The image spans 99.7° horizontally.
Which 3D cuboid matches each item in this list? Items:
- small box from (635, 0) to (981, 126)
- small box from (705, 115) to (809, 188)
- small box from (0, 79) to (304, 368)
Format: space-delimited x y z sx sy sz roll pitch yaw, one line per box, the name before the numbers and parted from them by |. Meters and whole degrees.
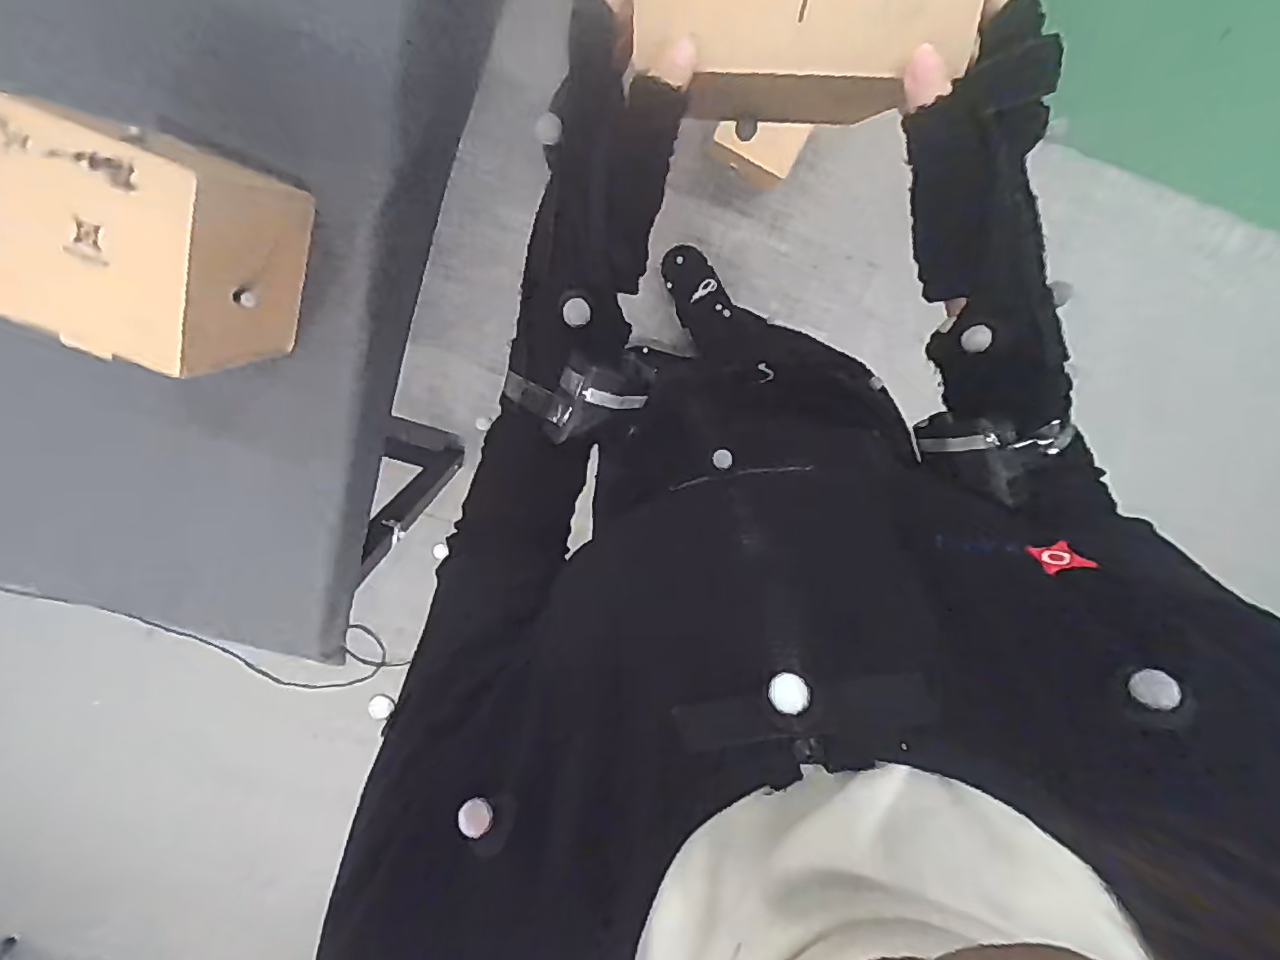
small box | 0.085 -0.316 0.300 0.168 0.176 0.179 4 118 -1
small box | 0.244 -0.725 1.096 0.168 0.176 0.179 25 111 -9
small box | -0.454 -0.231 0.512 0.168 0.176 0.179 21 111 -8
